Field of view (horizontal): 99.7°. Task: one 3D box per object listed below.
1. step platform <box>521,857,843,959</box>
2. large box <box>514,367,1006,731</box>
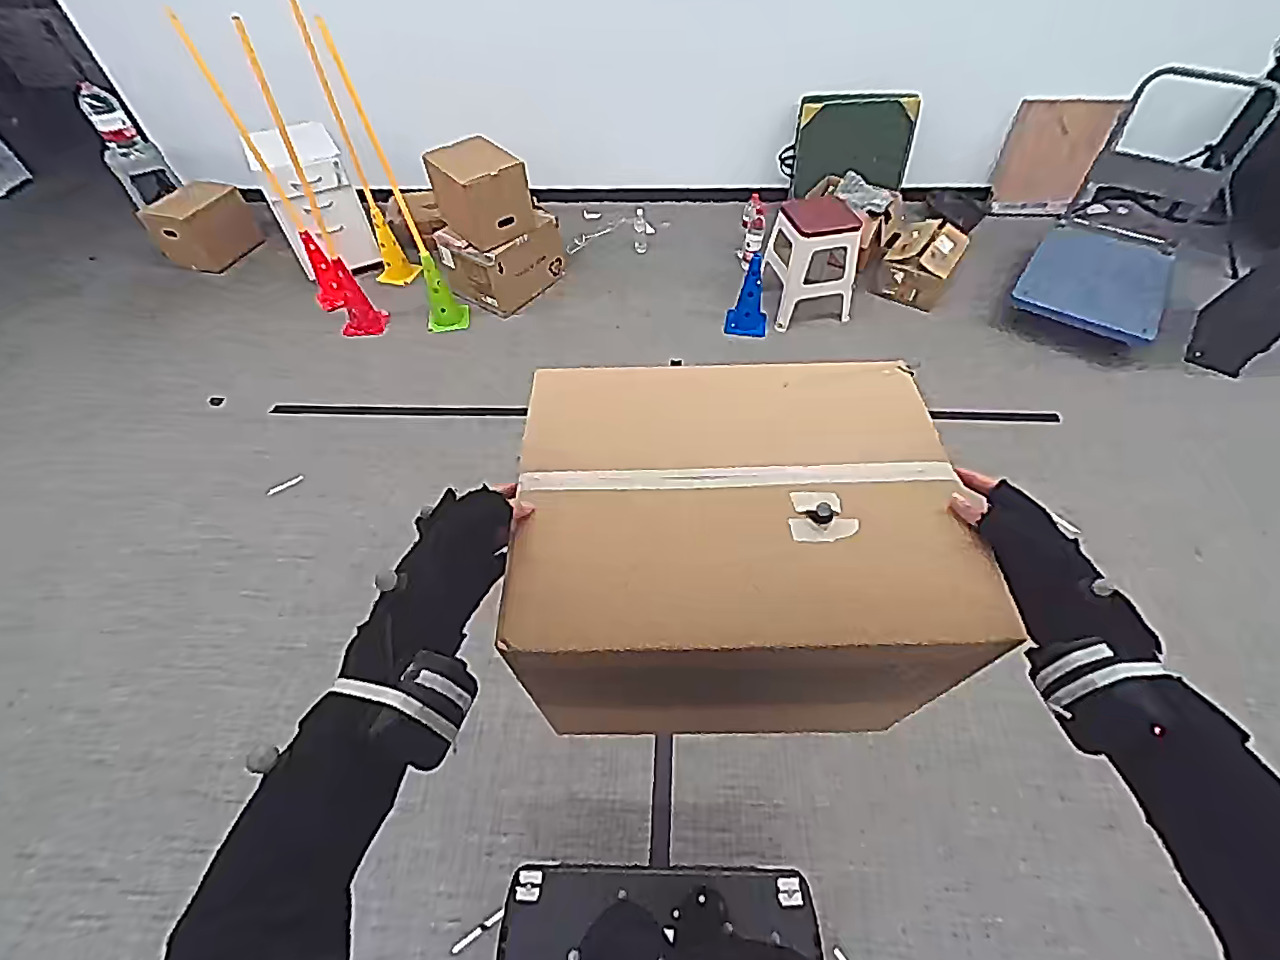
[{"bbox_3d":[0.085,1.005,1.190,0.684,0.204,0.286,0,52,0],"label":"step platform"},{"bbox_3d":[0.092,0.091,0.634,0.408,0.320,0.320,-2,54,0],"label":"large box"}]
